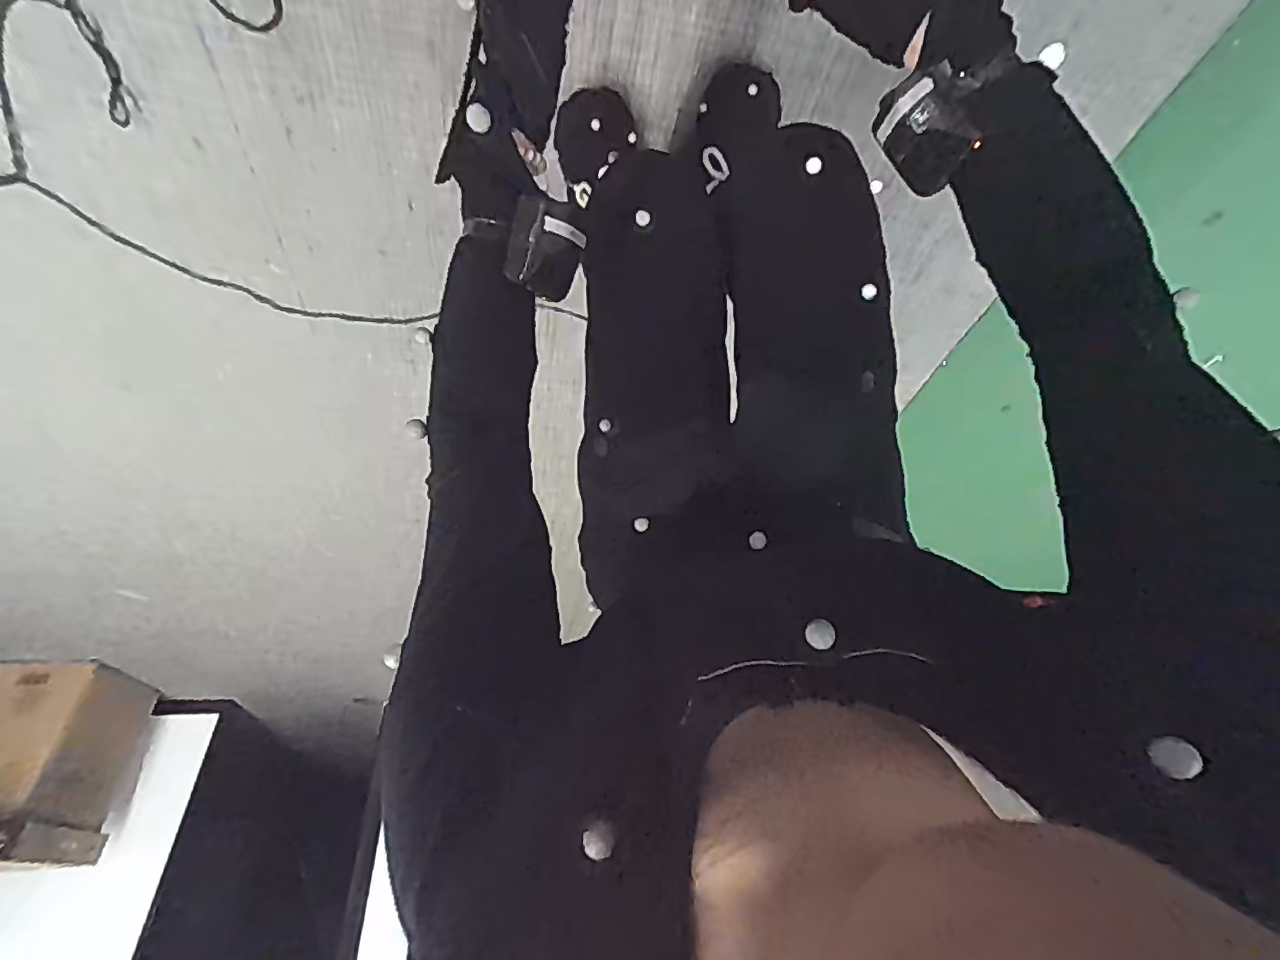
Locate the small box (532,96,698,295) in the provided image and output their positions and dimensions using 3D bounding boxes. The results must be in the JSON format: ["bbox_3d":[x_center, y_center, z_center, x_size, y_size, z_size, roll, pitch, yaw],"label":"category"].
[{"bbox_3d":[-0.042,-0.417,0.805,0.179,0.176,0.168,32,140,-12],"label":"small box"}]
